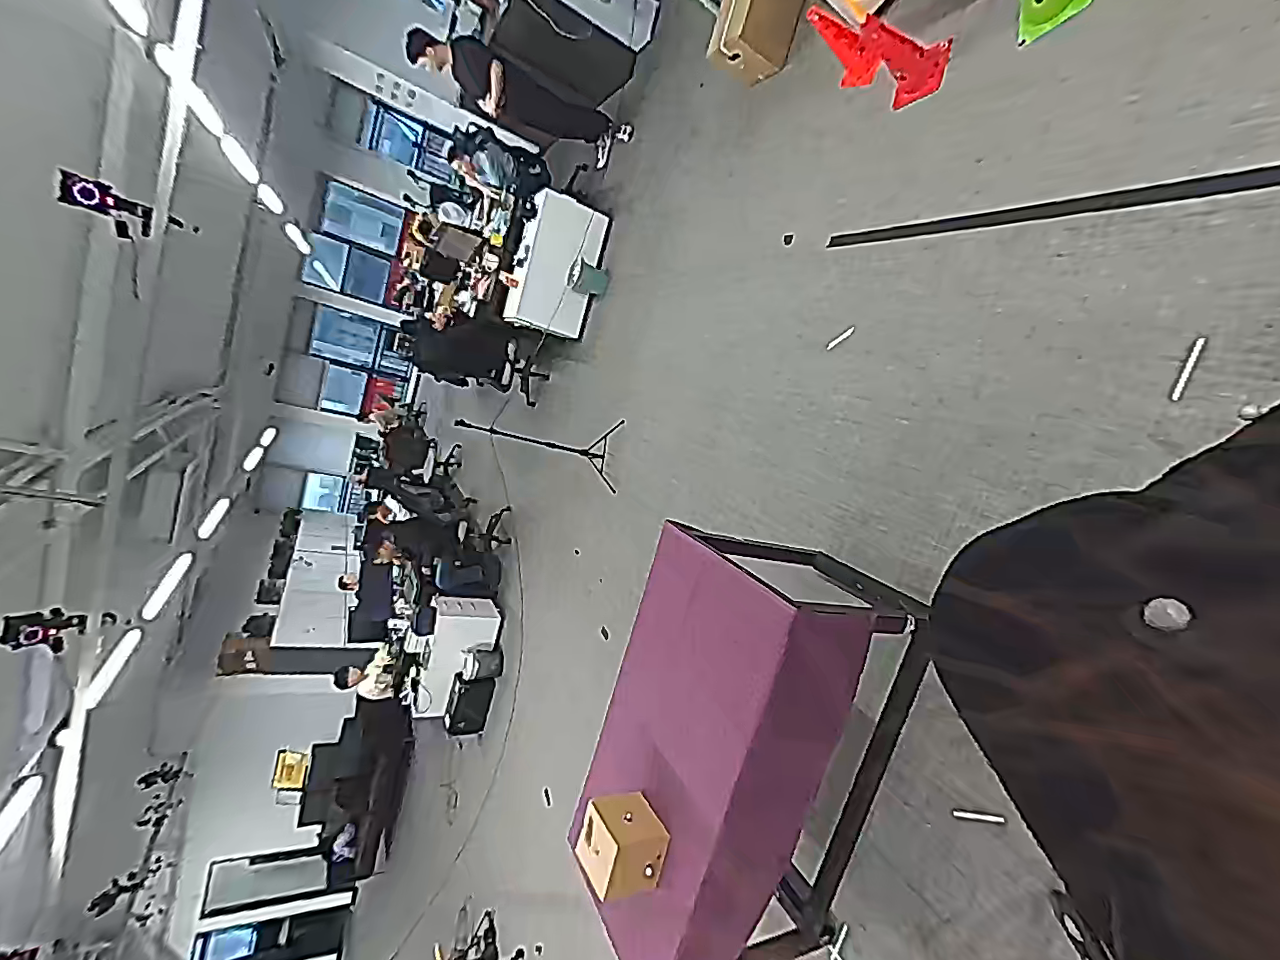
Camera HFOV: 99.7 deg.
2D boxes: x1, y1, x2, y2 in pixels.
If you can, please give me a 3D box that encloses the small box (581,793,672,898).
[{"bbox_3d":[-0.039,0.996,1.491,0.179,0.176,0.168,23,100,58],"label":"small box"}]
